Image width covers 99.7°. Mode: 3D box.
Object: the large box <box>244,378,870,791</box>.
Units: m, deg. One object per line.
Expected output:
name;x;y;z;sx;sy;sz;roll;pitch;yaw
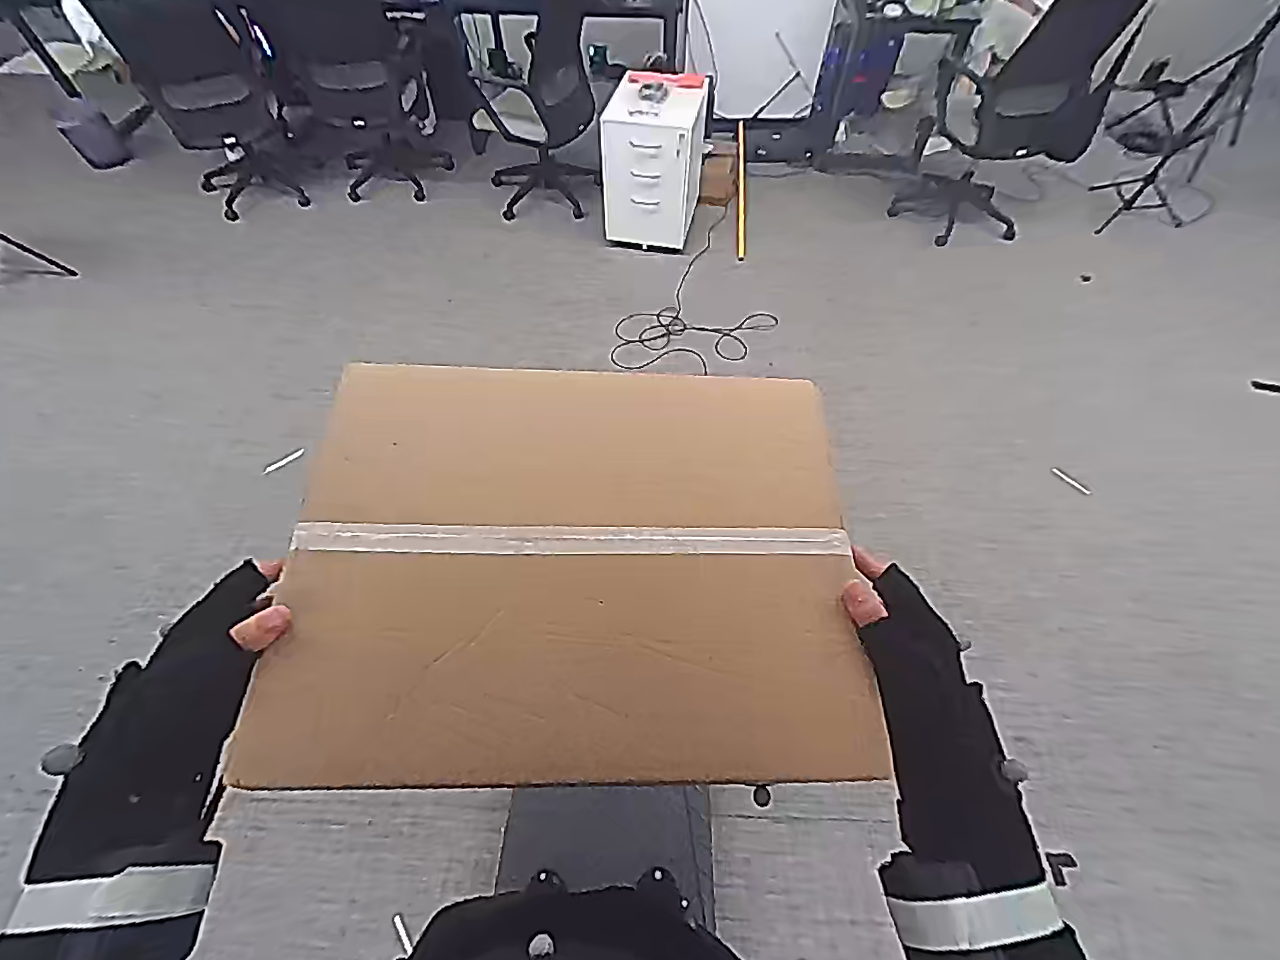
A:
large box;-0.056;0.119;0.540;0.408;0.320;0.320;2;62;-4
